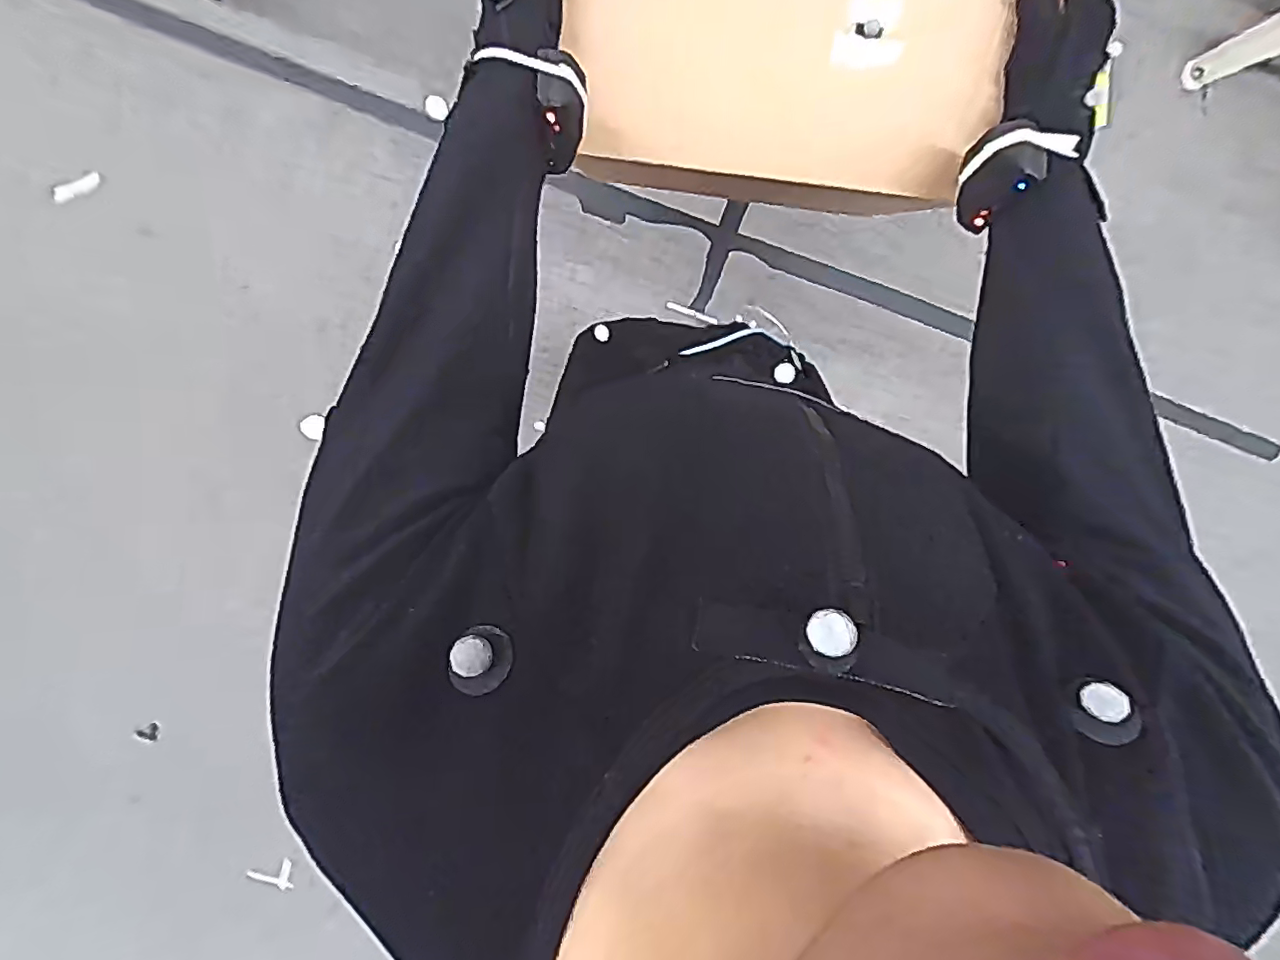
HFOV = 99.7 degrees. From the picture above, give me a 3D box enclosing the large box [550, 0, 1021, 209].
[{"bbox_3d":[0.128,-0.487,0.585,0.408,0.320,0.320,6,116,0],"label":"large box"}]
